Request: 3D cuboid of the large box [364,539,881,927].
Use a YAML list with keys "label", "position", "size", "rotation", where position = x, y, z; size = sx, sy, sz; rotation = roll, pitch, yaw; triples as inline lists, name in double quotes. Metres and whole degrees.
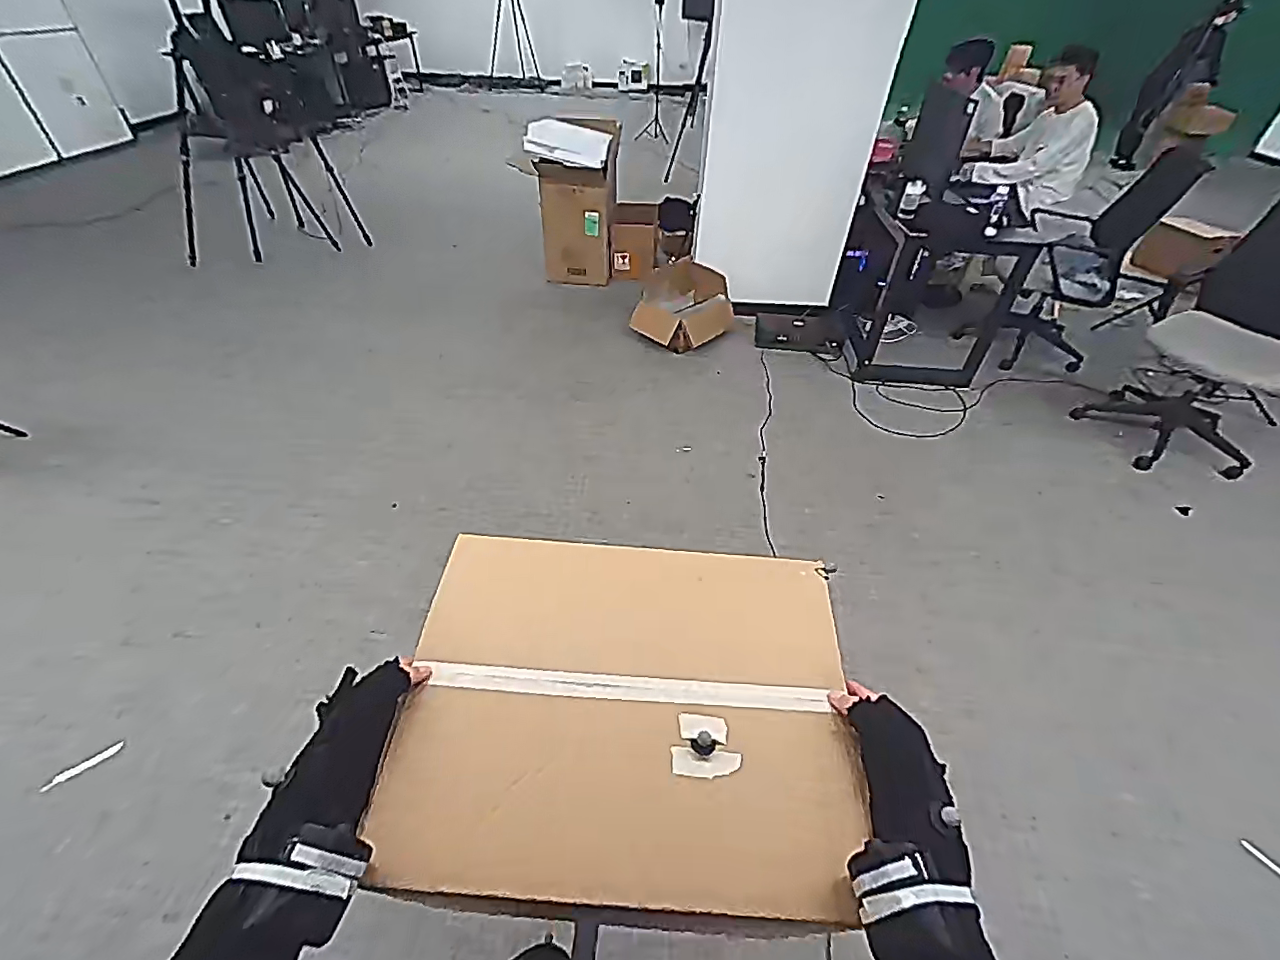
- label: "large box"
  position: [-0.015, 0.292, 0.616]
  size: [0.408, 0.320, 0.320]
  rotation: [5, 49, 0]
